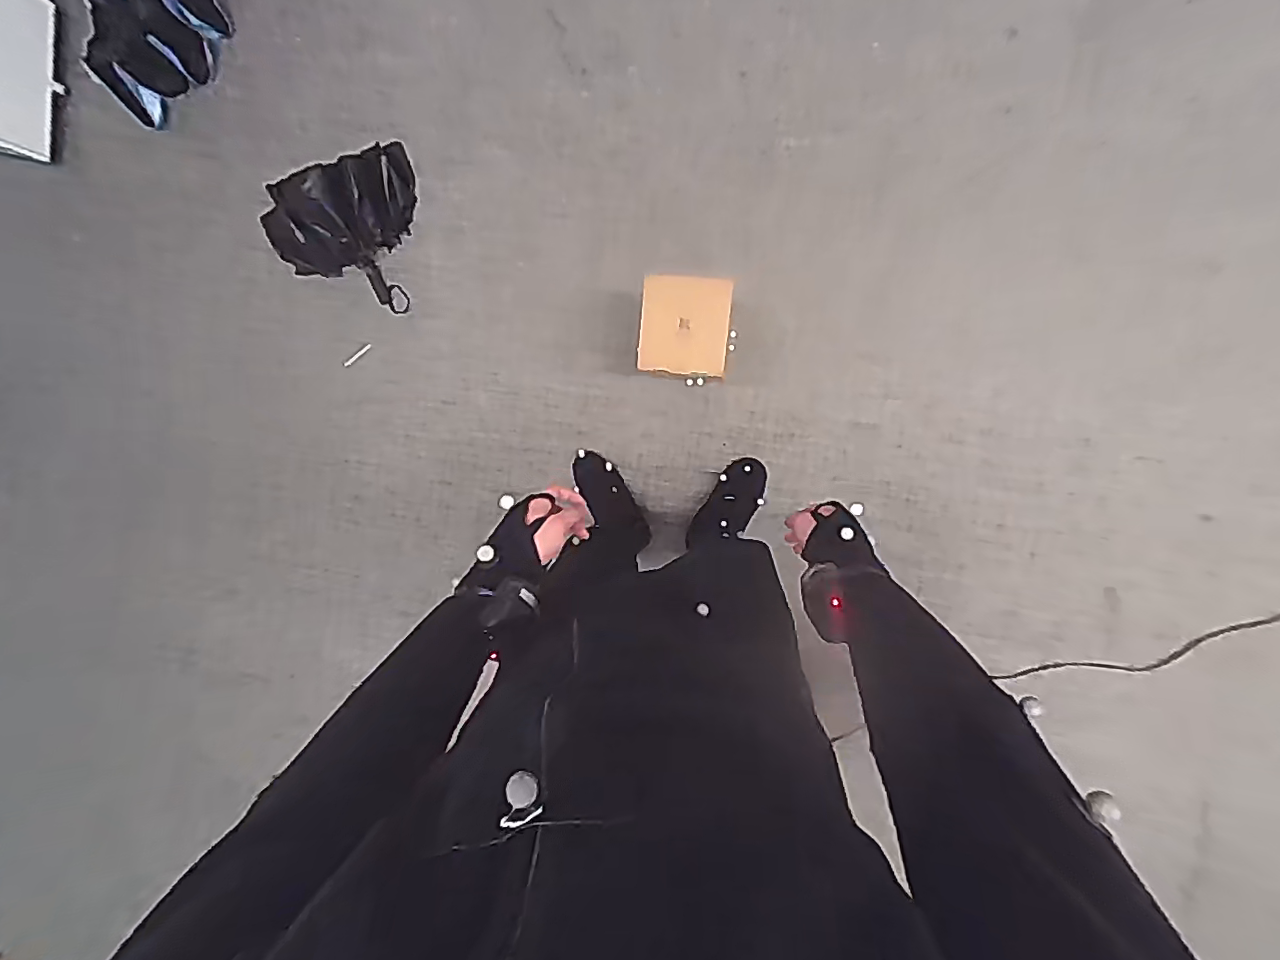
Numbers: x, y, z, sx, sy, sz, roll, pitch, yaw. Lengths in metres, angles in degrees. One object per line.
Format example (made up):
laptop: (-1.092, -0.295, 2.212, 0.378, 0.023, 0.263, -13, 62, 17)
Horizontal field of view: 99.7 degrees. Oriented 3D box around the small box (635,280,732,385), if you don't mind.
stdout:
small box: (0.090, -0.279, 1.053, 0.168, 0.176, 0.179, 5, 98, 8)
